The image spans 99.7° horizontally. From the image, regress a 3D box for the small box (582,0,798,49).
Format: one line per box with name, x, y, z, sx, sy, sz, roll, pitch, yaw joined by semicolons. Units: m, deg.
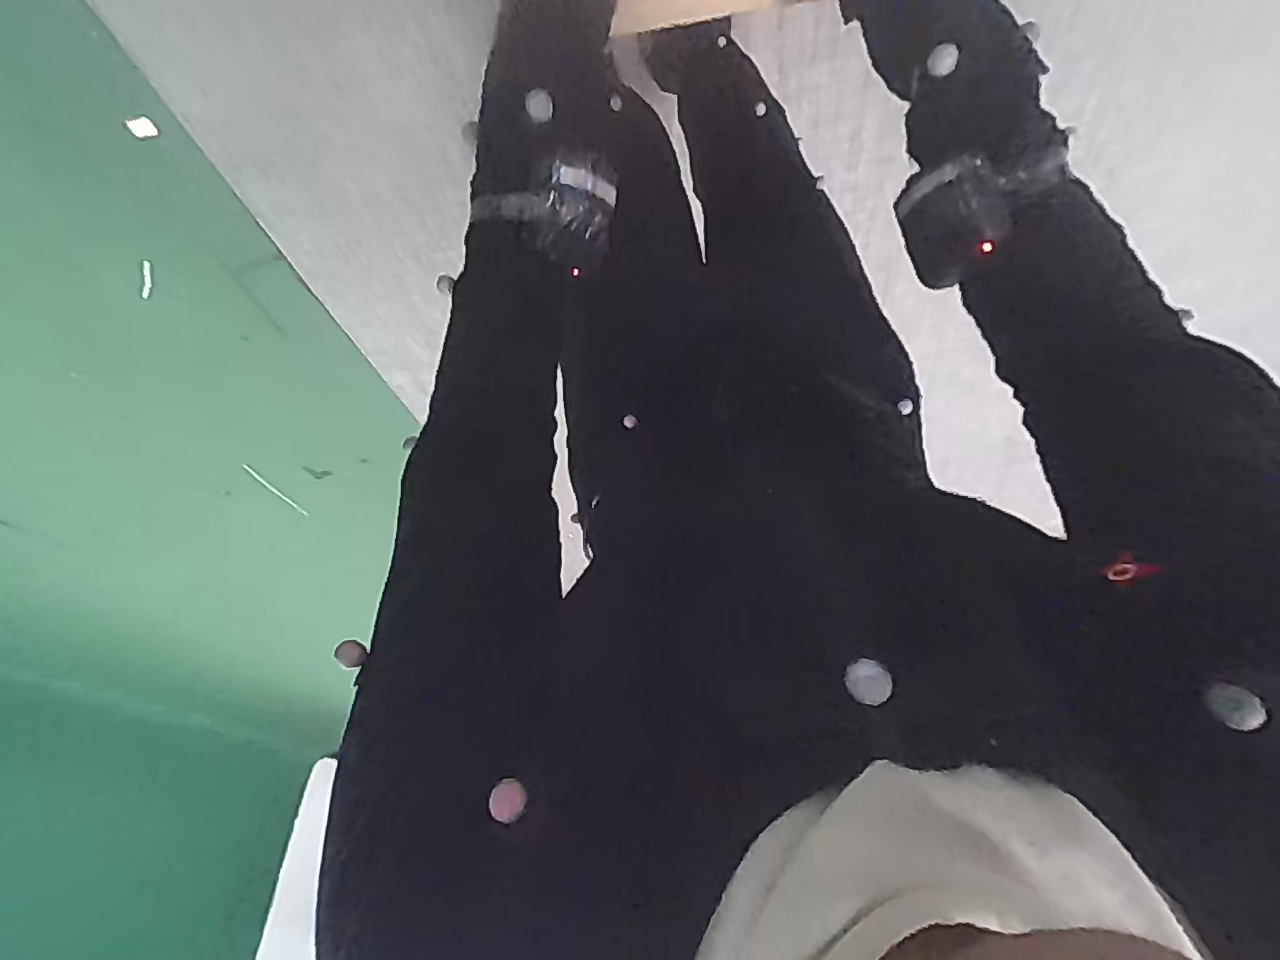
small box;0.029;-0.431;0.357;0.179;0.176;0.168;-10;144;5
